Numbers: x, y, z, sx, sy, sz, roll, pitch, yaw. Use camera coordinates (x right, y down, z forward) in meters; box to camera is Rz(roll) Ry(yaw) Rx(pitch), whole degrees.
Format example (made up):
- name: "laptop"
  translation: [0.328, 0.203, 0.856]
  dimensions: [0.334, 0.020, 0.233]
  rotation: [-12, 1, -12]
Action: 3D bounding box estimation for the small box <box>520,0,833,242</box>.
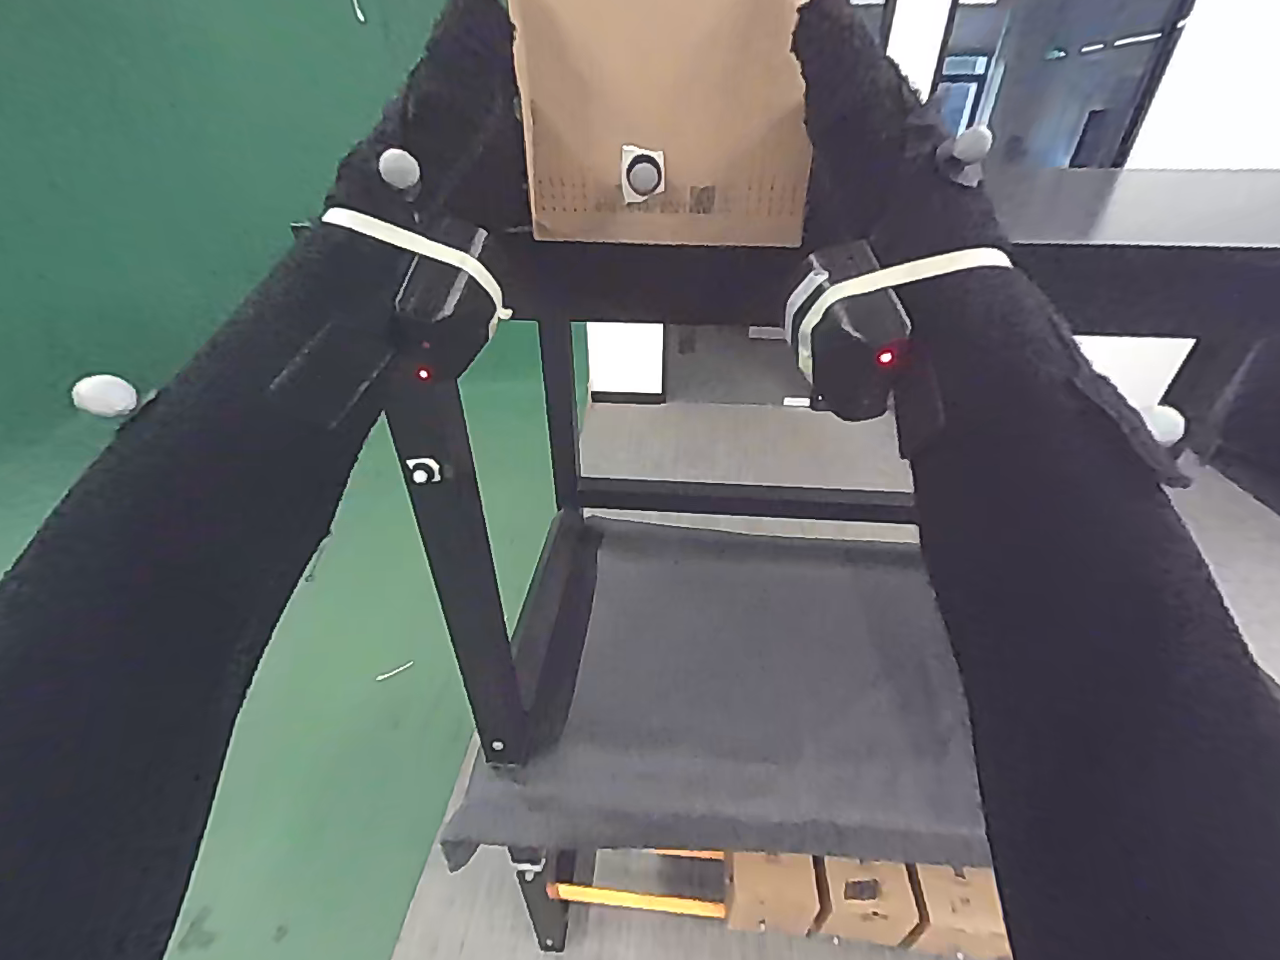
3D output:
- name: "small box"
  translation: [0.021, -0.265, 0.357]
  dimensions: [0.168, 0.176, 0.179]
  rotation: [2, 35, 4]
